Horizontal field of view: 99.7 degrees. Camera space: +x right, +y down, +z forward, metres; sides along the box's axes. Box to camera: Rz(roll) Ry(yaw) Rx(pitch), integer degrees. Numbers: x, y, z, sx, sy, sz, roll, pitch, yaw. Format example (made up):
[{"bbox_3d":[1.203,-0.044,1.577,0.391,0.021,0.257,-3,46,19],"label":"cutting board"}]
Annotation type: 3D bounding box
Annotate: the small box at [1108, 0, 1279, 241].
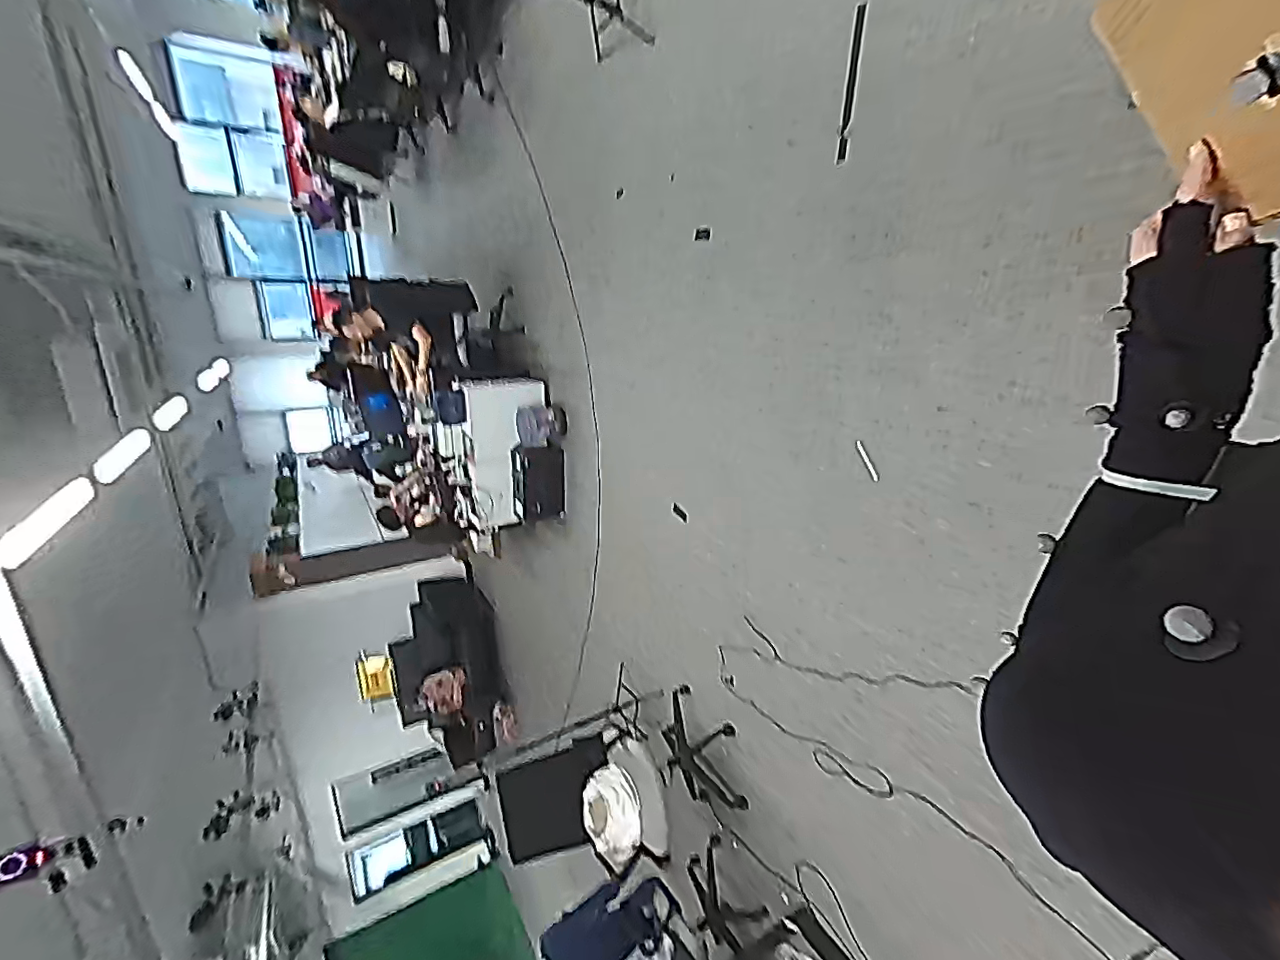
[{"bbox_3d":[0.366,-0.246,0.244,0.168,0.179,0.176,-27,91,25],"label":"small box"}]
